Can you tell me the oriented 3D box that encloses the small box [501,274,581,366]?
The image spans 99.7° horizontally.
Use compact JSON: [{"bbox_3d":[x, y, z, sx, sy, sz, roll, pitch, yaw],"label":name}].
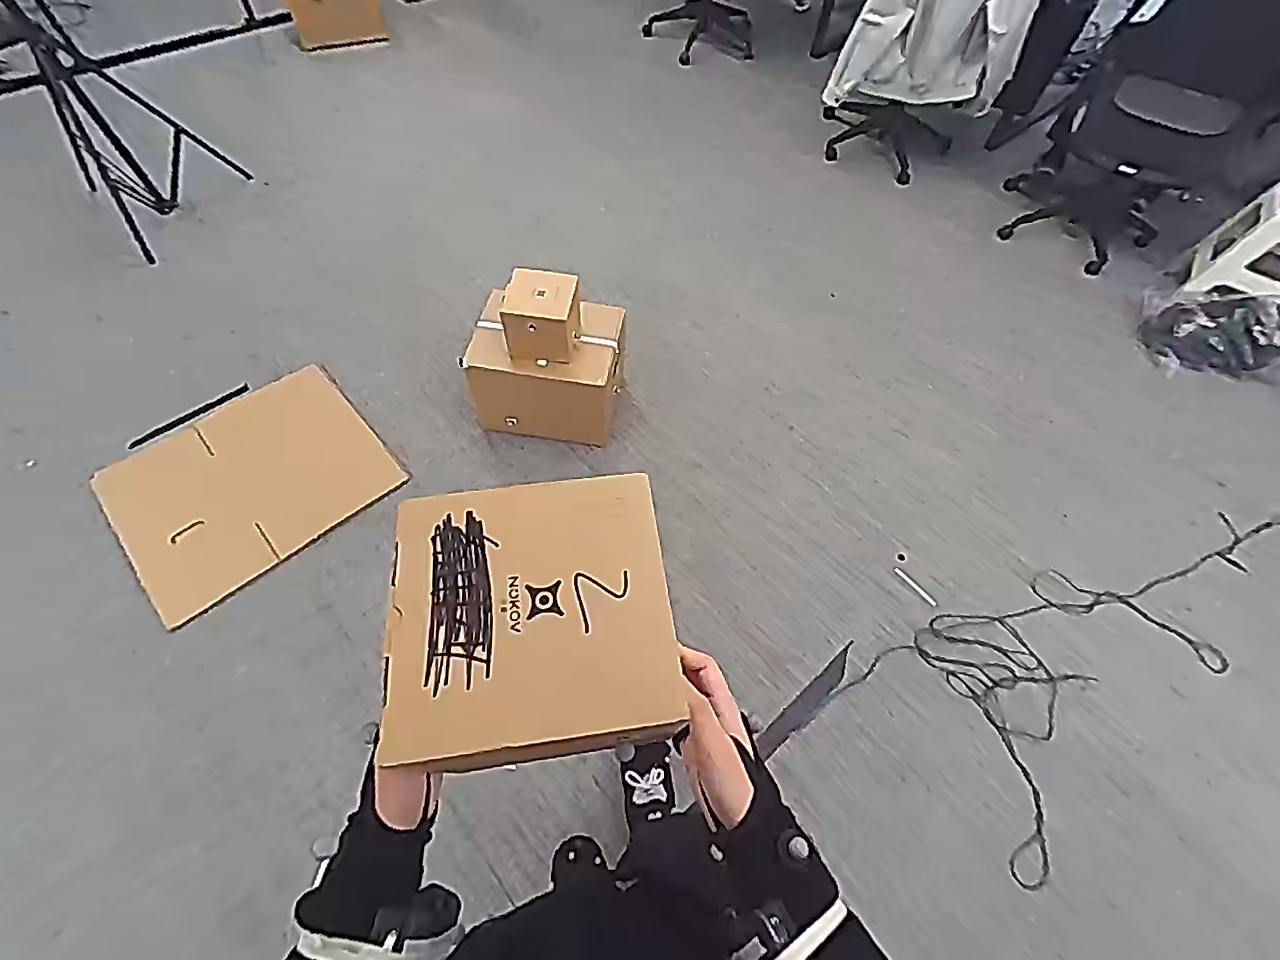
[{"bbox_3d":[-0.261,-0.429,1.470,0.179,0.176,0.168,8,61,0],"label":"small box"}]
